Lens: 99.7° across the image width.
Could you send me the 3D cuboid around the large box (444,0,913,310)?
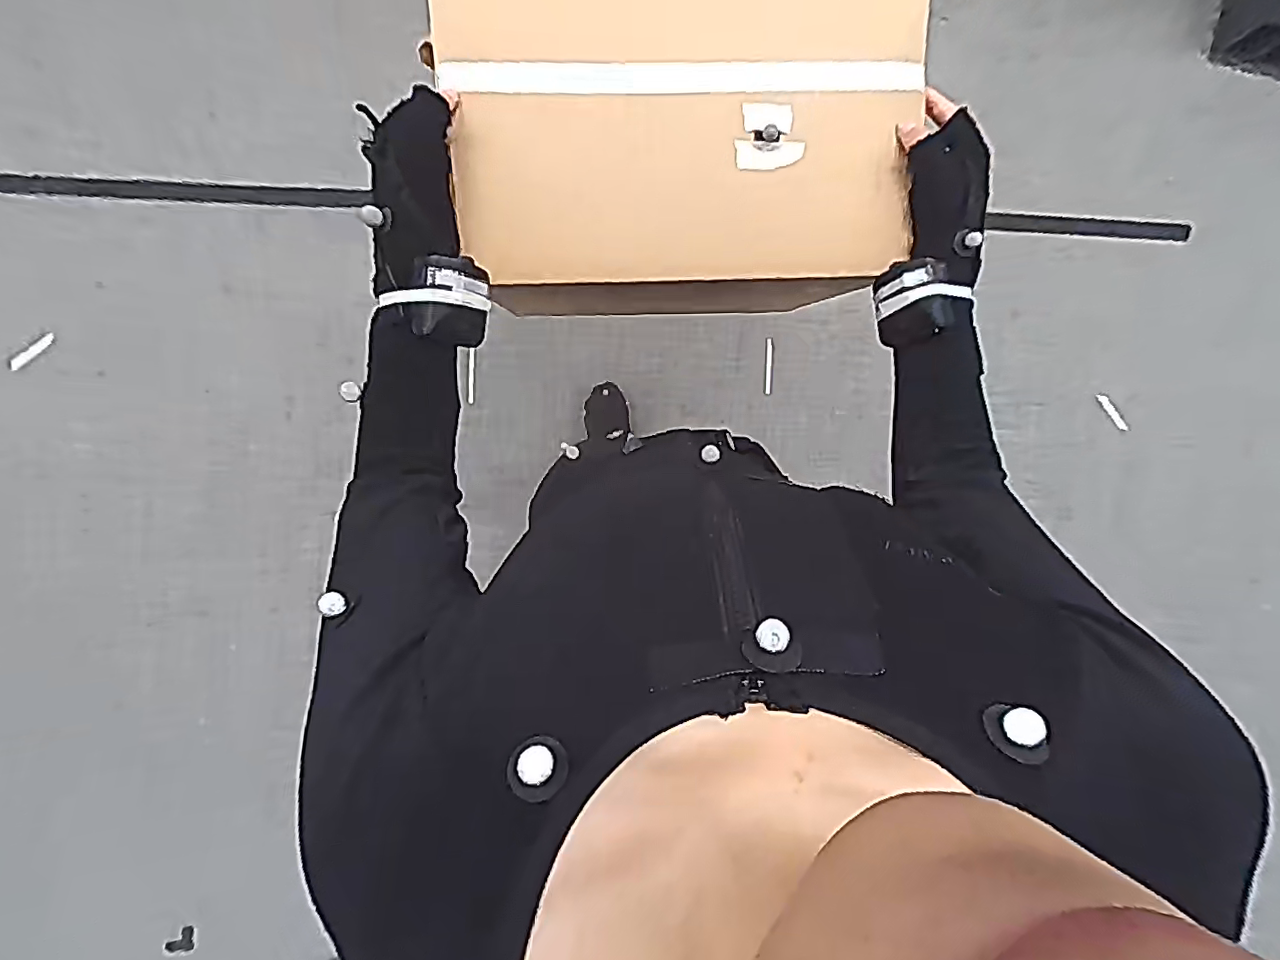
[{"bbox_3d":[0.026,-0.375,0.611,0.408,0.320,0.320,-3,103,-5],"label":"large box"}]
